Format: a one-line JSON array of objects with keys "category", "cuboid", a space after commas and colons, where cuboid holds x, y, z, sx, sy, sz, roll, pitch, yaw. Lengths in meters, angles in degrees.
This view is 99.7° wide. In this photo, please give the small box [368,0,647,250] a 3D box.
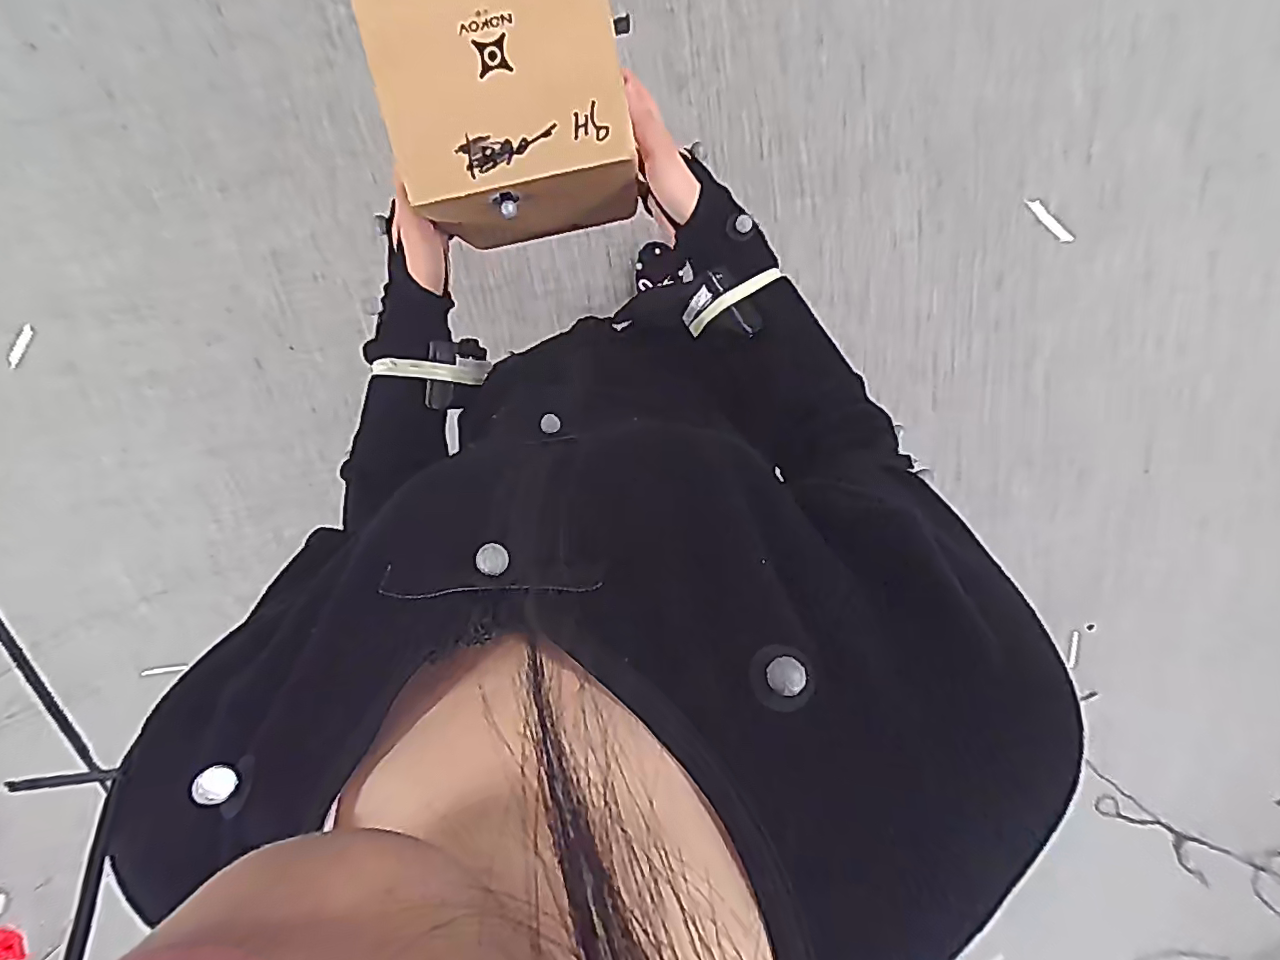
[{"category": "small box", "cuboid": [-0.092, -0.307, 0.436, 0.168, 0.176, 0.179, -11, 103, 2]}]

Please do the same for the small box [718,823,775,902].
[{"category": "small box", "cuboid": [0.380, 1.368, 1.949, 0.168, 0.176, 0.179, -8, 111, 2]}]

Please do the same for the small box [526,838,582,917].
[{"category": "small box", "cuboid": [-0.308, 1.434, 1.958, 0.179, 0.176, 0.168, 7, 109, -5]}]
